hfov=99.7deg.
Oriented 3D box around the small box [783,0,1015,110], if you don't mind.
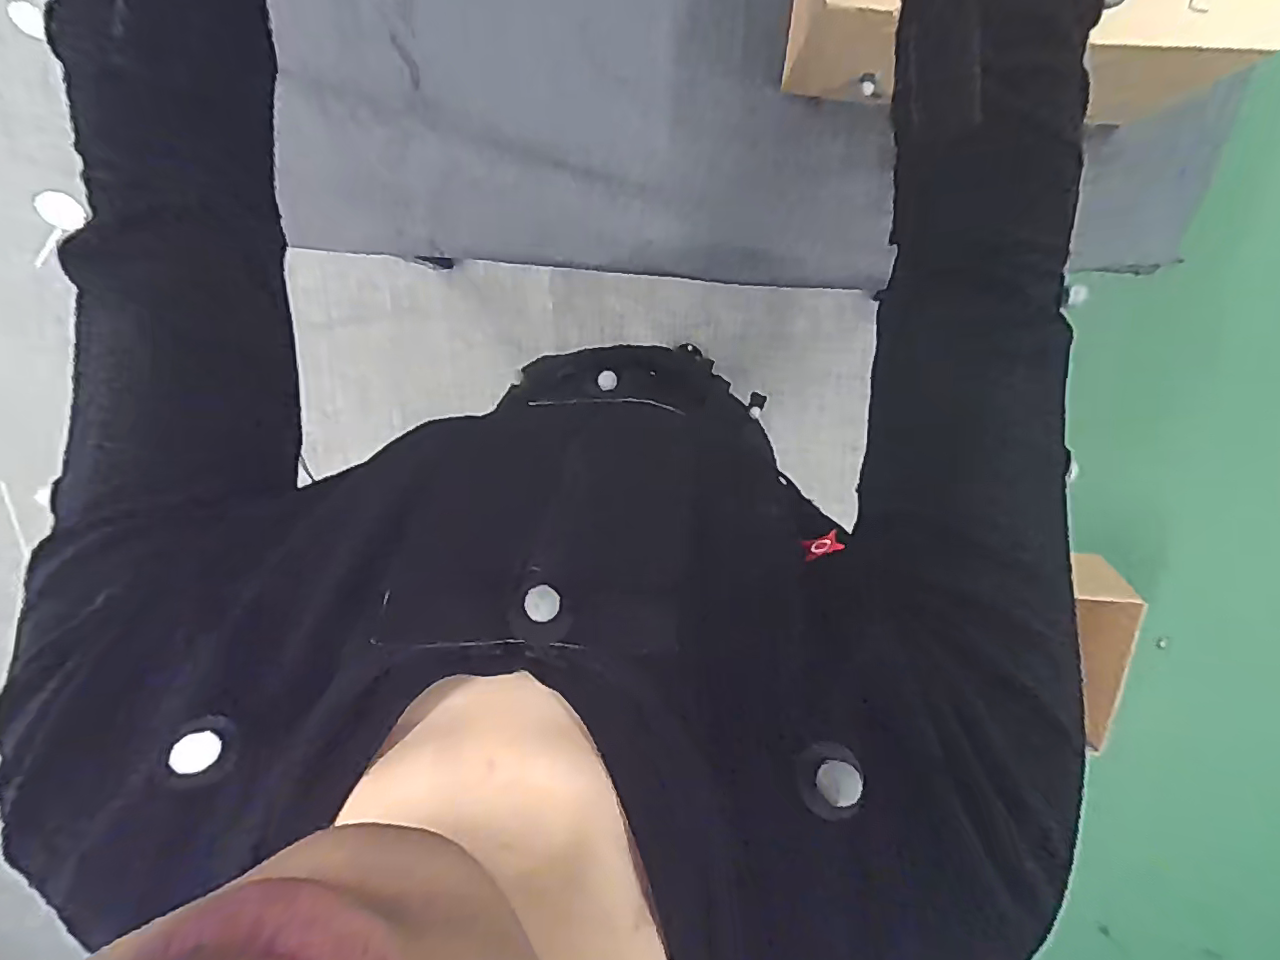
[{"bbox_3d":[0.246,-0.497,0.519,0.168,0.176,0.179,7,104,0],"label":"small box"}]
